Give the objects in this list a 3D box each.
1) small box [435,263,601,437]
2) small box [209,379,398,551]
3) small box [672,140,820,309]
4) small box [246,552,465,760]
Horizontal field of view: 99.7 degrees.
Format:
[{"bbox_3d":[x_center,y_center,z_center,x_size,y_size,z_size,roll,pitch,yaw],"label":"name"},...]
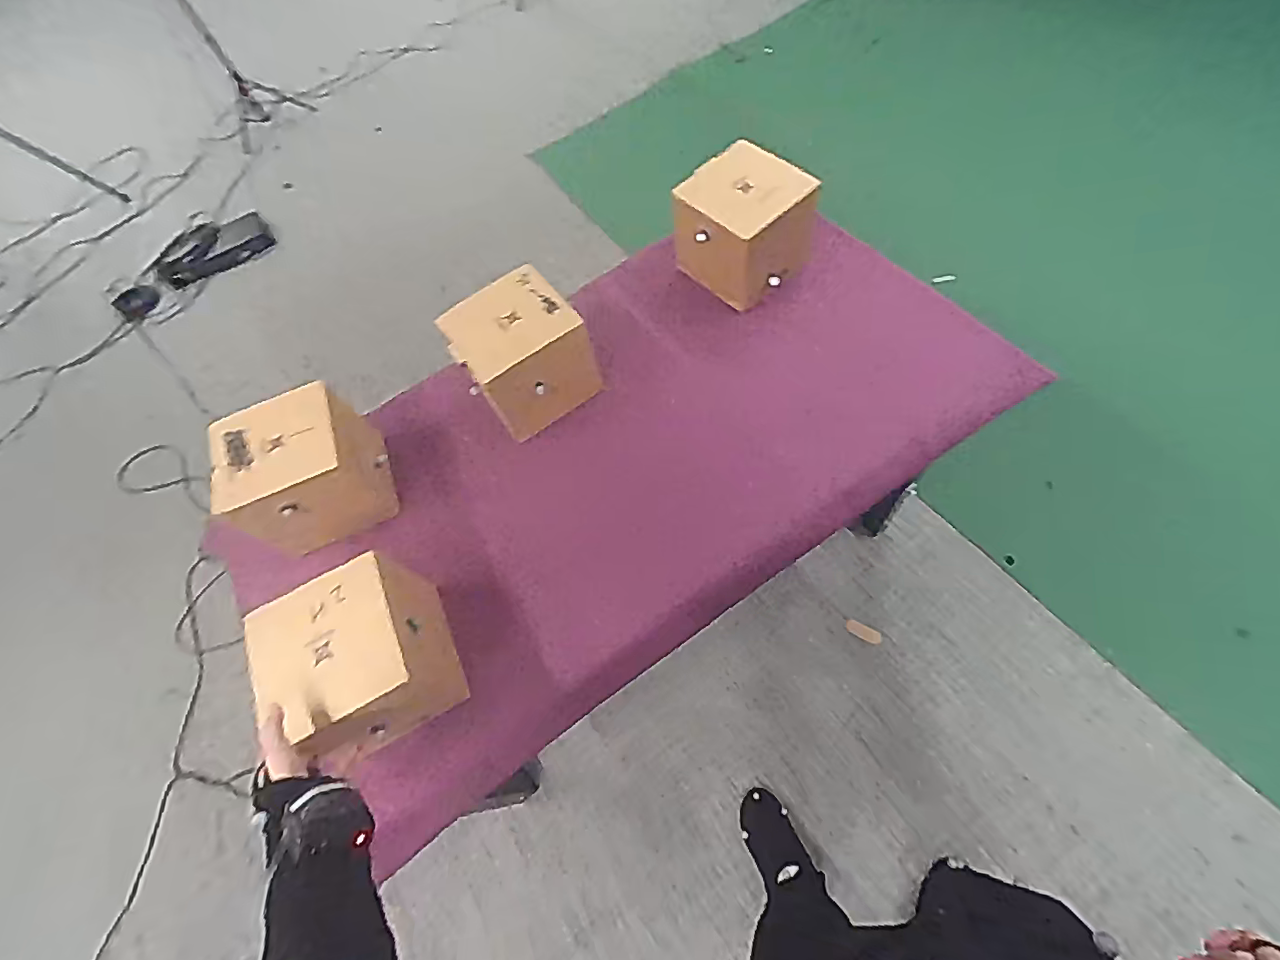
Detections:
[{"bbox_3d":[-0.185,-0.200,0.868,0.179,0.176,0.168,-36,66,-9],"label":"small box"},{"bbox_3d":[-0.502,-0.014,0.819,0.179,0.176,0.168,-23,64,-5],"label":"small box"},{"bbox_3d":[0.176,-0.432,0.930,0.168,0.176,0.179,-40,66,-10],"label":"small box"},{"bbox_3d":[-0.343,0.223,0.675,0.168,0.176,0.179,-27,62,-6],"label":"small box"}]
